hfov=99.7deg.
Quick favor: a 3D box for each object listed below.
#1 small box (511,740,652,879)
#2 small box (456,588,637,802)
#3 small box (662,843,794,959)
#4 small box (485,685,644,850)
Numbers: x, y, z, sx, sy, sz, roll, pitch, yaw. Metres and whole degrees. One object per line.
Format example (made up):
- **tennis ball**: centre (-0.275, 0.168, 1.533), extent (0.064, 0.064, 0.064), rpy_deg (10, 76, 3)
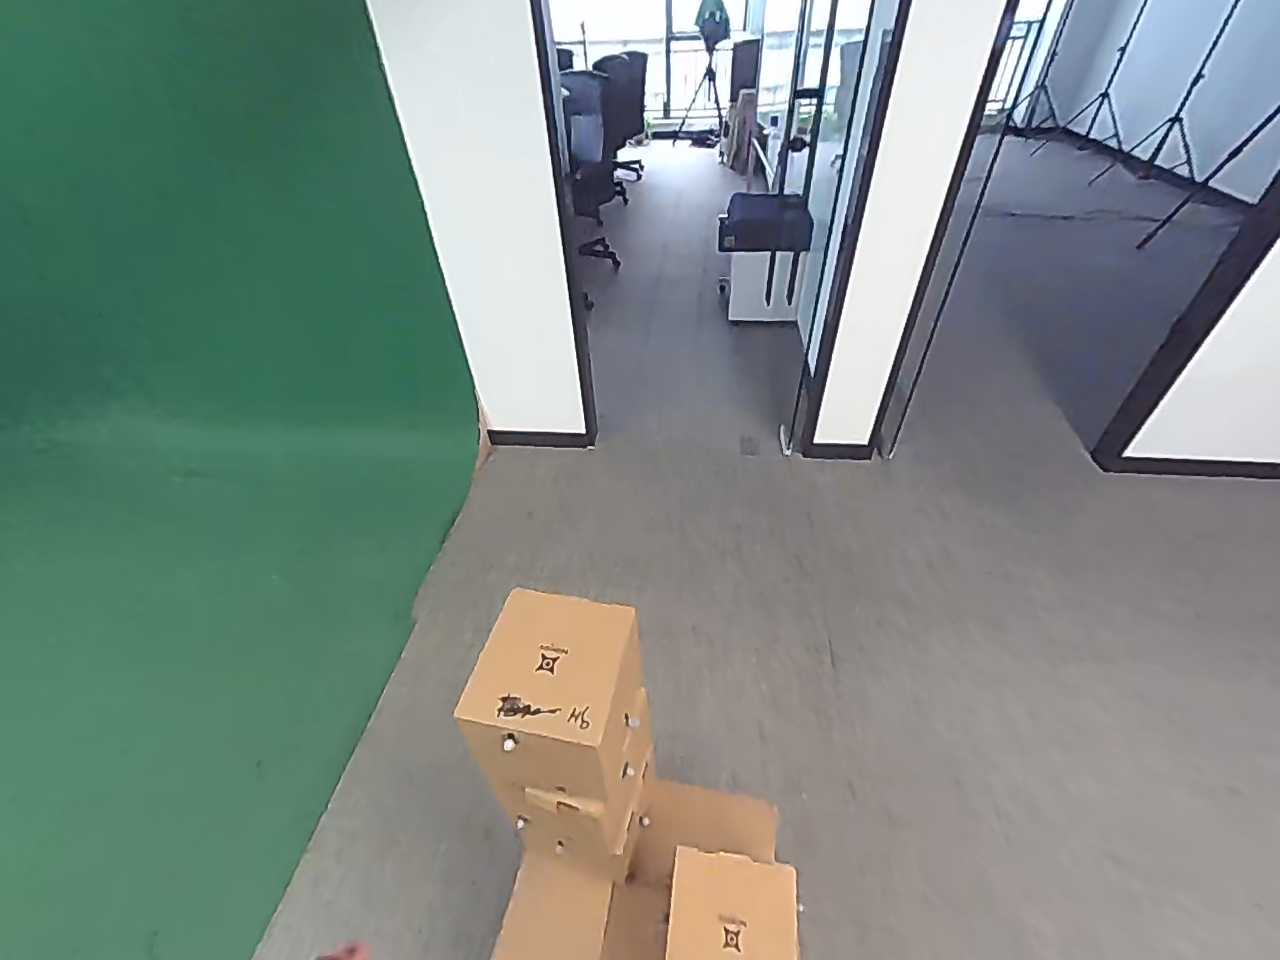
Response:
- **small box**: centre (-0.085, 0.521, 0.890), extent (0.179, 0.176, 0.168), rpy_deg (11, 44, 14)
- **small box**: centre (-0.101, 0.267, 0.680), extent (0.168, 0.176, 0.179), rpy_deg (7, 41, 11)
- **small box**: centre (0.118, 0.638, 0.746), extent (0.168, 0.176, 0.179), rpy_deg (5, 42, 8)
- **small box**: centre (-0.094, 0.395, 0.783), extent (0.168, 0.176, 0.179), rpy_deg (12, 42, 15)
